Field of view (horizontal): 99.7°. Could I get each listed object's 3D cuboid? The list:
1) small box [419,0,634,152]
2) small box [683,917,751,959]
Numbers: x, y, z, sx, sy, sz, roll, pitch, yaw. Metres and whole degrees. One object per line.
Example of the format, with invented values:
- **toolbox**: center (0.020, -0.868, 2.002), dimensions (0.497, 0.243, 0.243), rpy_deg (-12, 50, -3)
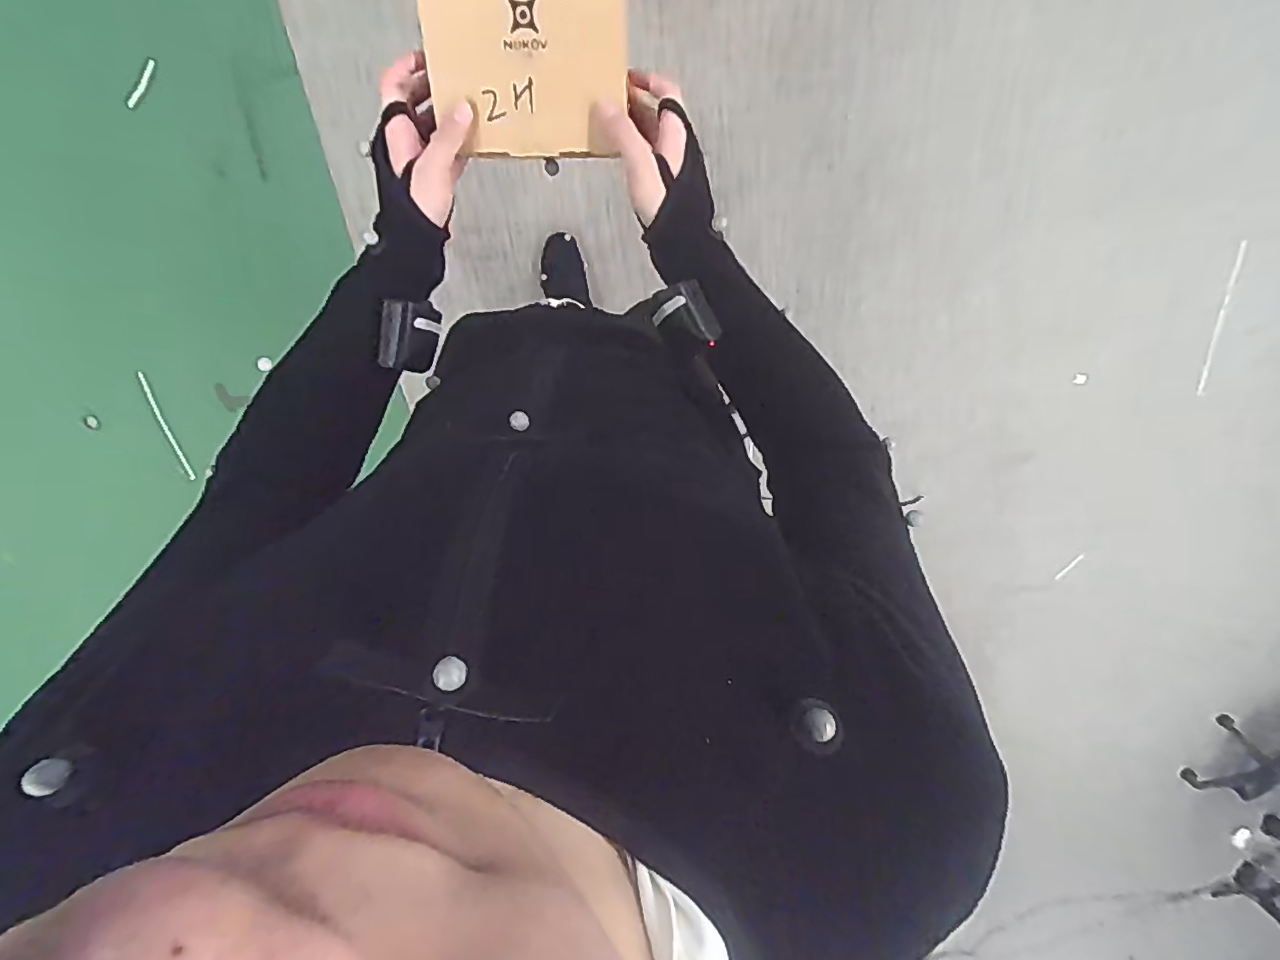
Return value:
- **small box**: center (-0.090, -0.406, 0.492), dimensions (0.168, 0.176, 0.179), rpy_deg (0, 120, 0)
- **small box**: center (0.217, 1.308, 1.428), dimensions (0.168, 0.176, 0.179), rpy_deg (-13, 114, -1)
